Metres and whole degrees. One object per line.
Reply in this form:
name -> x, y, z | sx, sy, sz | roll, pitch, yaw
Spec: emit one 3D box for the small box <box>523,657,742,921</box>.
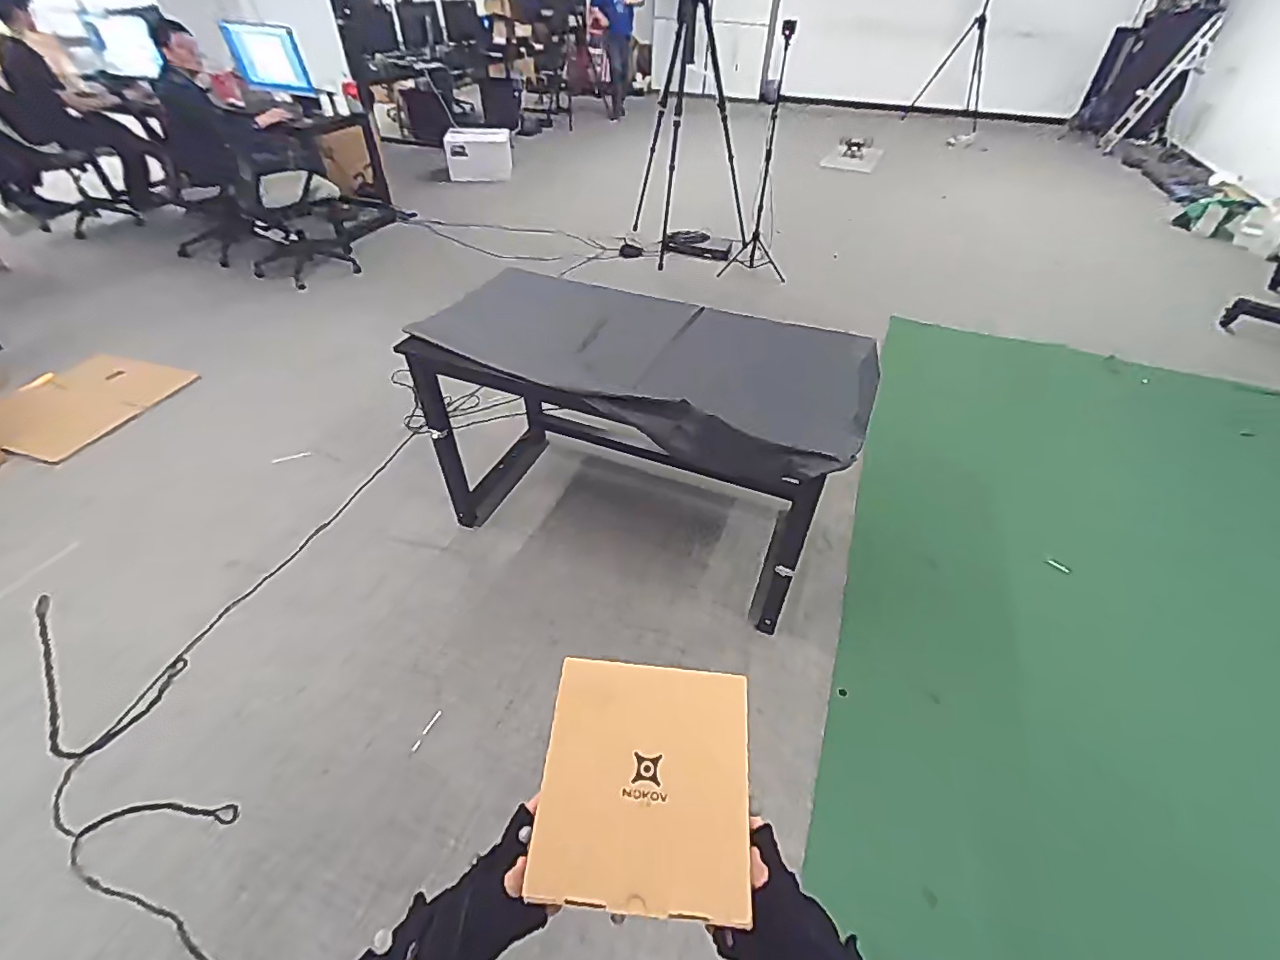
small box -> -0.001, 0.286, 0.507 | 0.168, 0.176, 0.179 | 6, 55, 2
